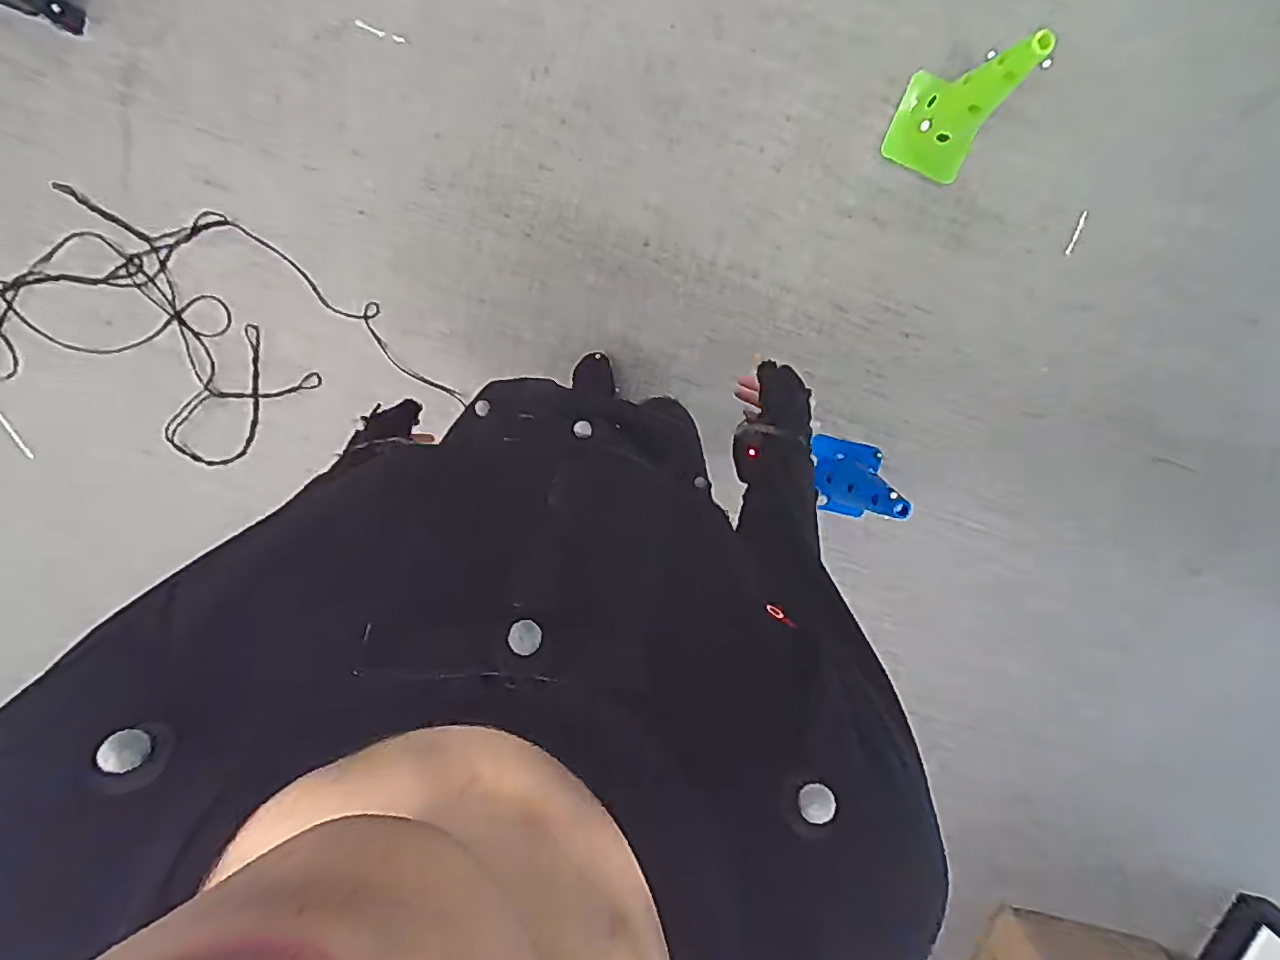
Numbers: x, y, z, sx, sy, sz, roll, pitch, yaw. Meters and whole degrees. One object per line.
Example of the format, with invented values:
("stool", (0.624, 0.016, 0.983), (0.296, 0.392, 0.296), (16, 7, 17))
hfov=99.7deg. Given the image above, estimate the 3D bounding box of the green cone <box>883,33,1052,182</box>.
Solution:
("green cone", (0.712, -0.817, 1.137), (0.200, 0.368, 0.202), (20, 100, -5))
